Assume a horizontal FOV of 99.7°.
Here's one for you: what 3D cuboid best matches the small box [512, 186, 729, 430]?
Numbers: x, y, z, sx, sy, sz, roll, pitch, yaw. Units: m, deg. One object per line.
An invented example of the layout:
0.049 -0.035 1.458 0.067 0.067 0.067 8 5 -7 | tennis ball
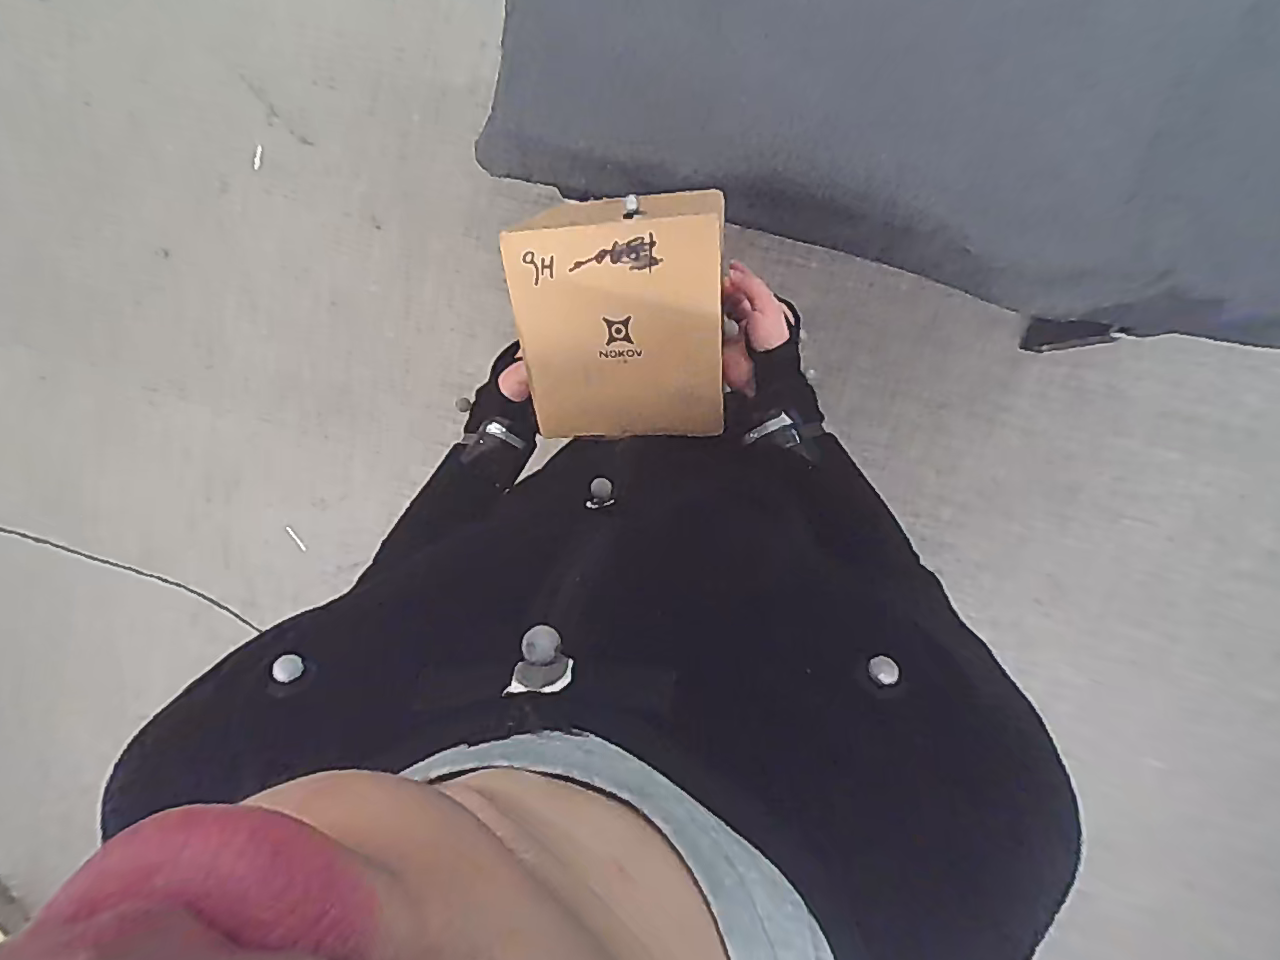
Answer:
-0.001 -0.164 0.511 0.168 0.176 0.179 0 125 9 | small box
